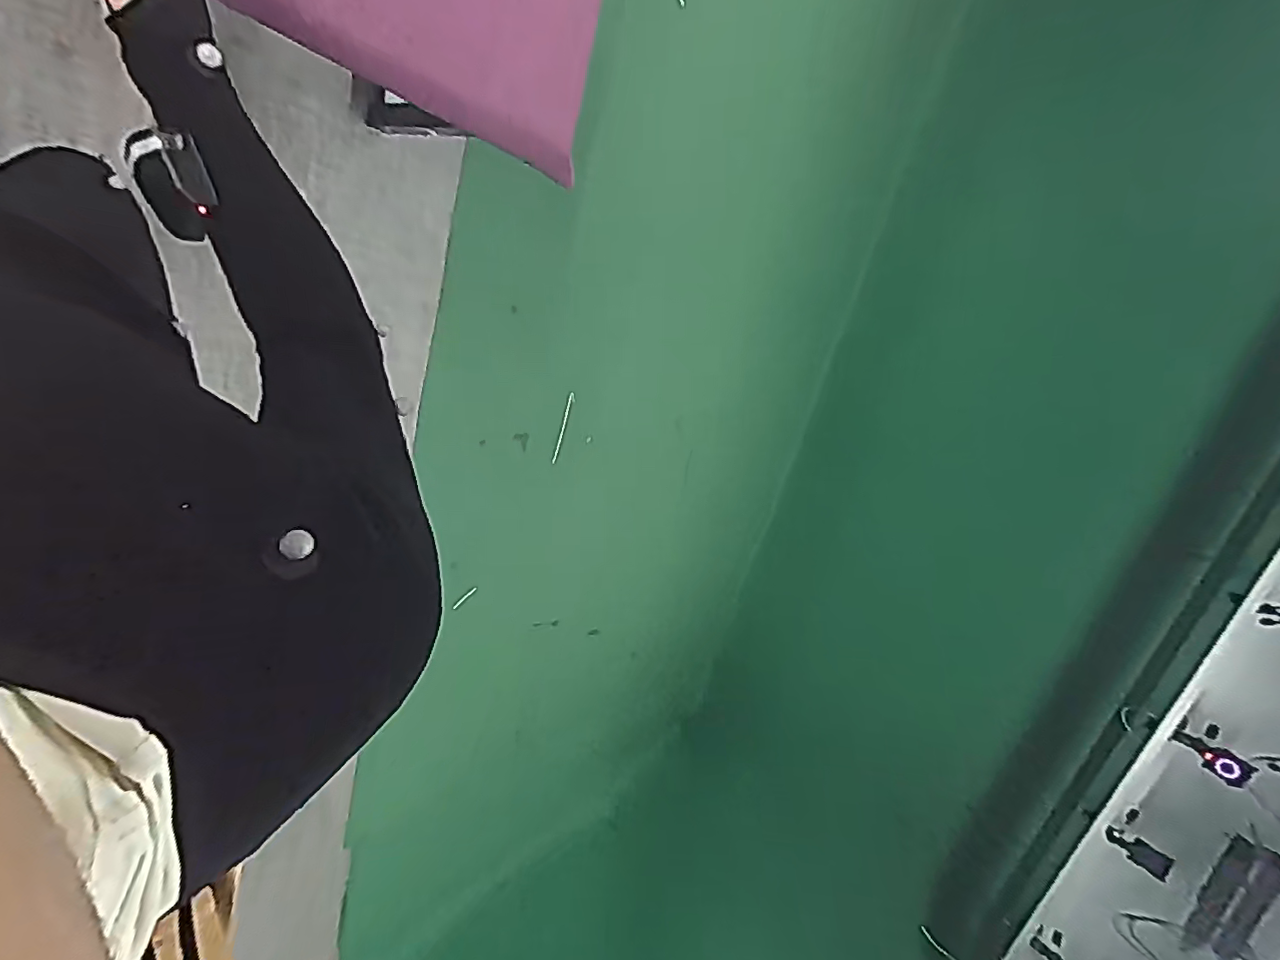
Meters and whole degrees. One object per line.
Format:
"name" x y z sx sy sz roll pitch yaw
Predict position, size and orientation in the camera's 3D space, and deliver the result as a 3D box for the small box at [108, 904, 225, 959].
"small box" -1.022 1.080 1.162 0.168 0.176 0.179 -1 114 -53
